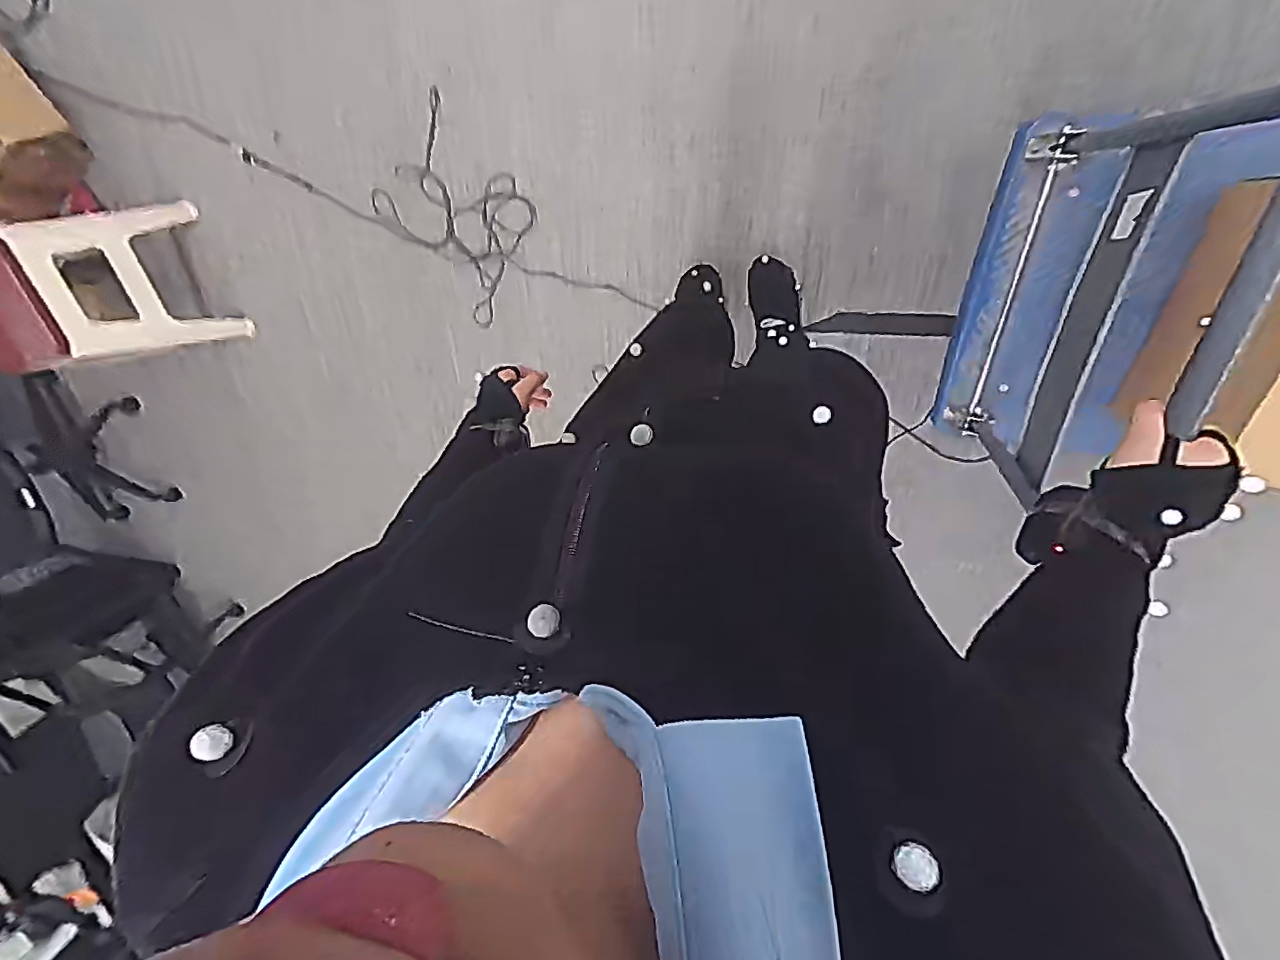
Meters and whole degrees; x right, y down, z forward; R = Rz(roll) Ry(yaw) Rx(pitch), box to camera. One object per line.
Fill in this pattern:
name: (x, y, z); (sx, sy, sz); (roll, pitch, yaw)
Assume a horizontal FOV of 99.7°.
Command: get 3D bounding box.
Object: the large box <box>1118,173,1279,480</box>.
large box: (1.044, -0.227, 0.810); (0.320, 0.320, 0.408); (9, 117, 10)
